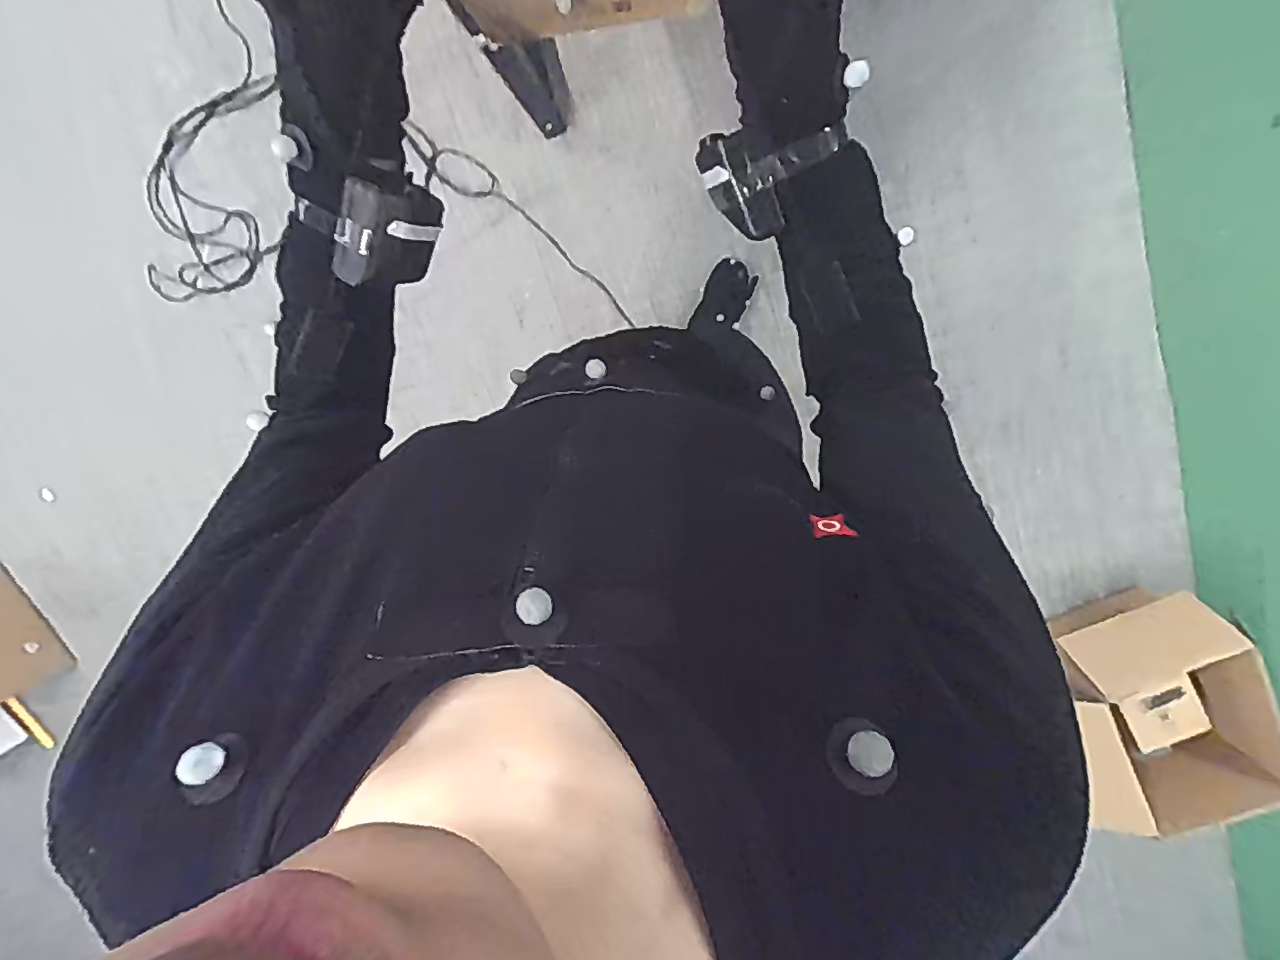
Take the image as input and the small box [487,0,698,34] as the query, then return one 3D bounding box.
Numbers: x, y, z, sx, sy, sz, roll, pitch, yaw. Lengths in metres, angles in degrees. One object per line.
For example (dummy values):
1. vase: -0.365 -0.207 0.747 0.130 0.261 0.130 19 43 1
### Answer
1. small box: -0.043 -0.400 0.301 0.168 0.176 0.179 -4 107 5
